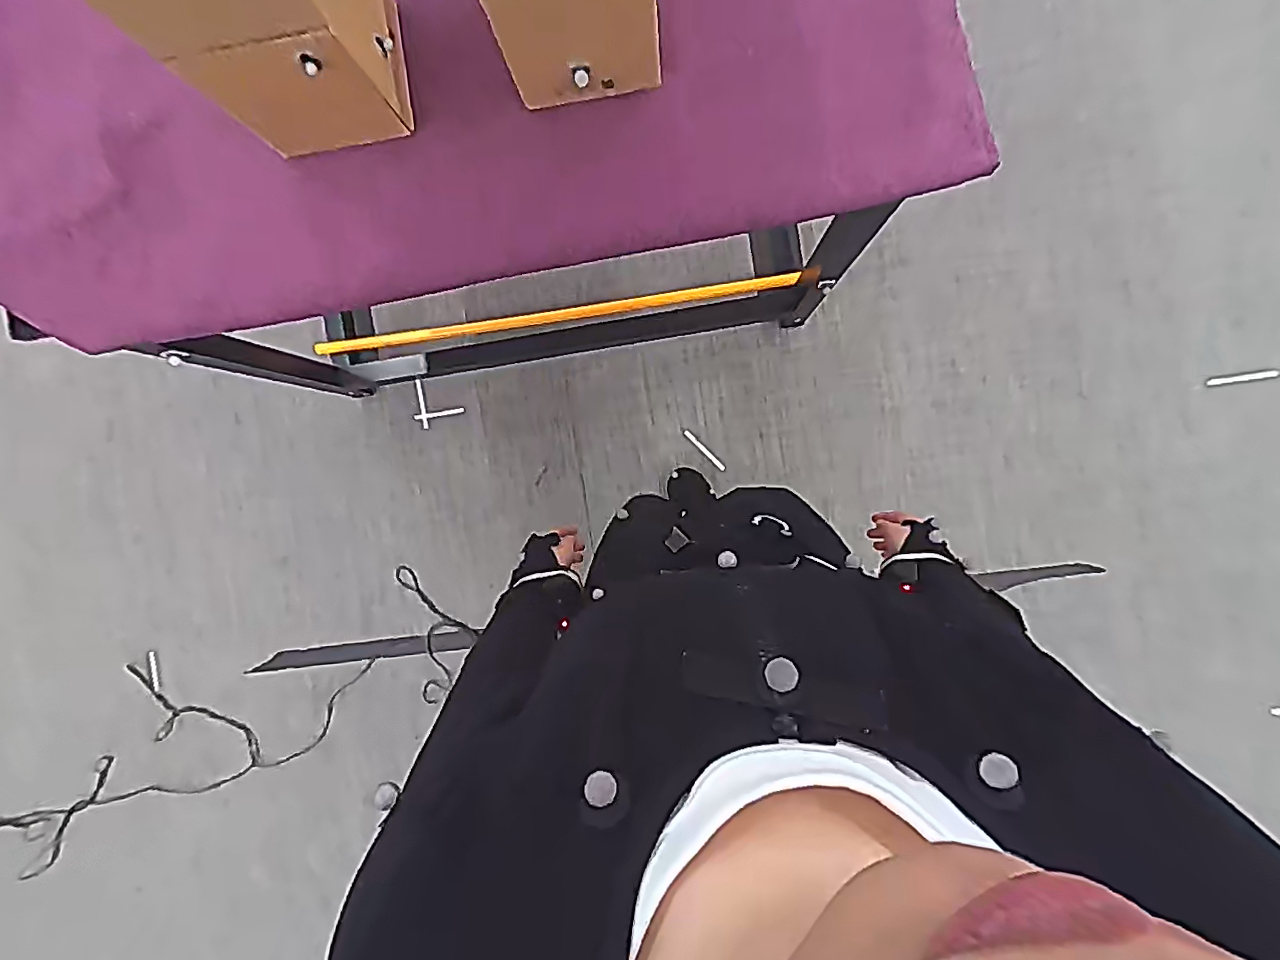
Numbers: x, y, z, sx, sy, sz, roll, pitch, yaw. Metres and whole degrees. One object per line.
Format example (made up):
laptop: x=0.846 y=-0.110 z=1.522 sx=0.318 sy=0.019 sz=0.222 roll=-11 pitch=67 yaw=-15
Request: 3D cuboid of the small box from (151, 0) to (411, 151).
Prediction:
small box: x=-0.381 y=-0.496 z=0.592 sx=0.179 sy=0.176 sz=0.168 roll=-8 pitch=90 yaw=3

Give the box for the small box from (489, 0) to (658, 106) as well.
small box: x=-0.072 y=-0.544 z=0.568 sx=0.168 sy=0.176 sz=0.179 roll=-6 pitch=91 yaw=4
